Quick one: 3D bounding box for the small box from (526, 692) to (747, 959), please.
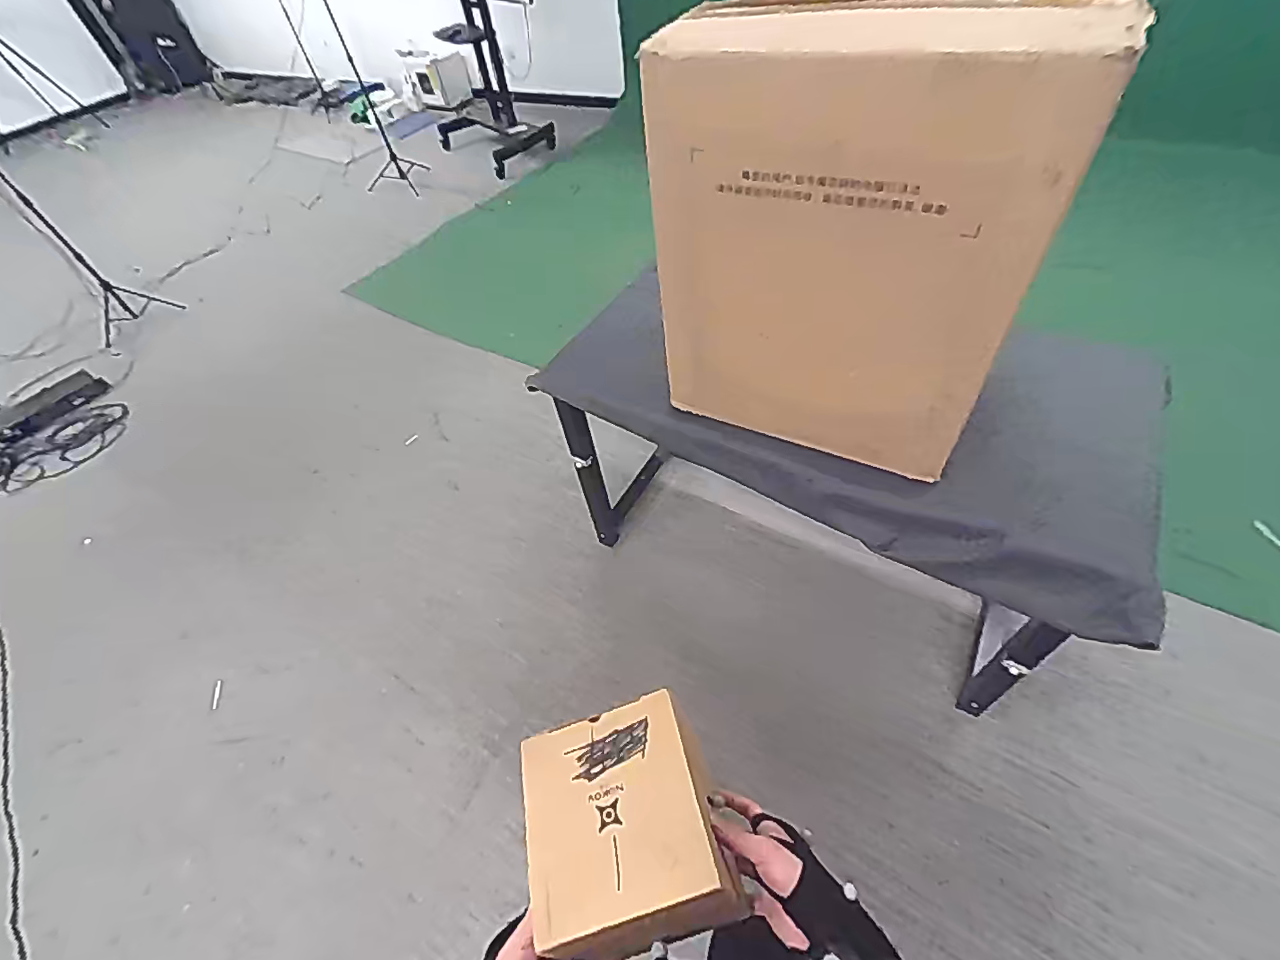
[{"bbox_3d":[-0.004,0.357,0.557,0.168,0.176,0.179,-21,43,2],"label":"small box"}]
